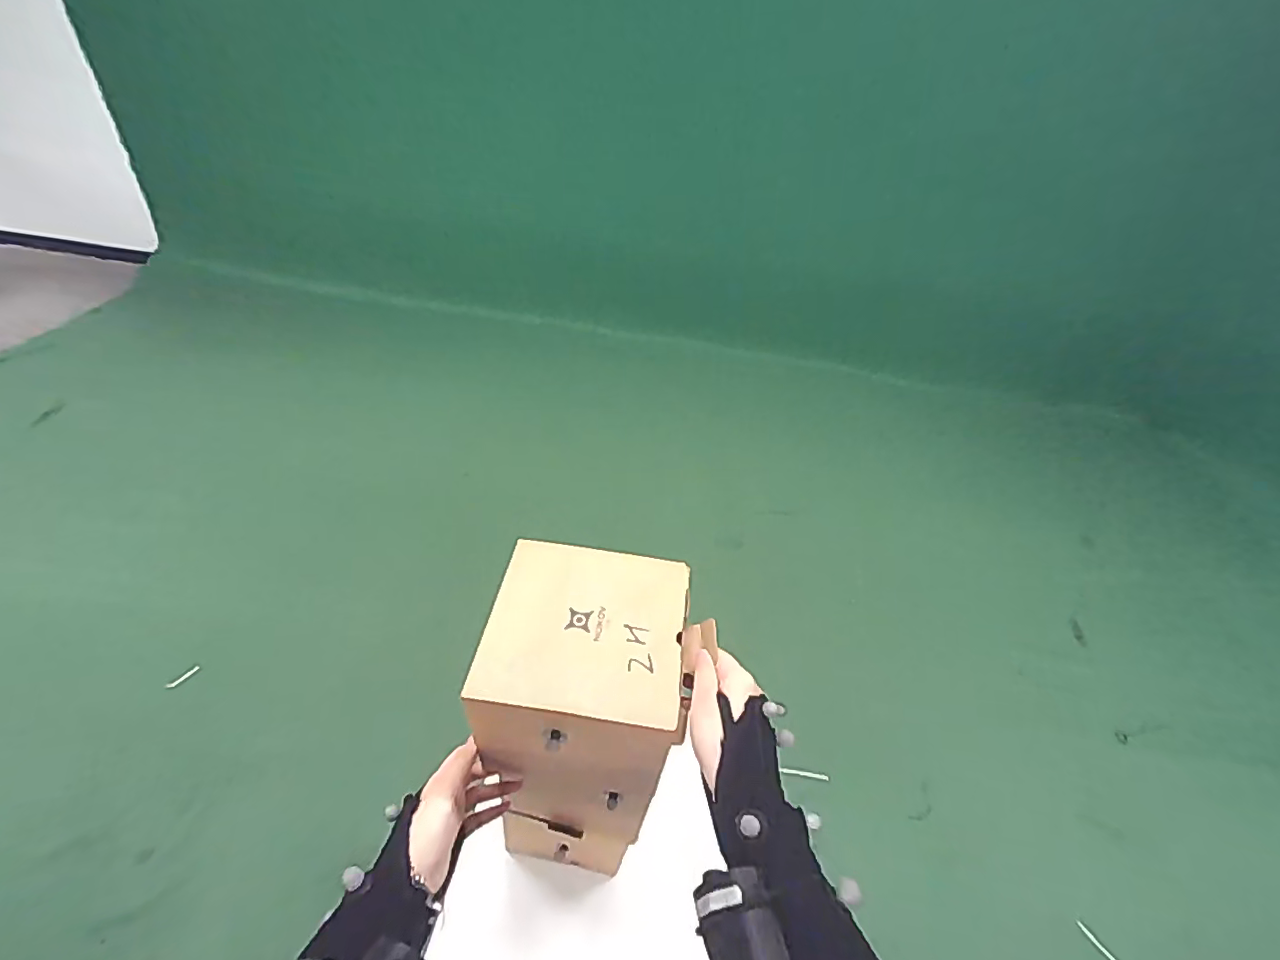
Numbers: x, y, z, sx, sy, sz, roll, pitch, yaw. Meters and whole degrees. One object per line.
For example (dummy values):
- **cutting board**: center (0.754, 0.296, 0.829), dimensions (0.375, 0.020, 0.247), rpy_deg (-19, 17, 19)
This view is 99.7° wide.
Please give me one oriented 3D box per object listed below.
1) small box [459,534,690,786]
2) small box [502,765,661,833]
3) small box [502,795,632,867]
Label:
- **small box**: center (-0.053, 0.177, 0.526), dimensions (0.179, 0.176, 0.168), rpy_deg (8, 45, 1)
- **small box**: center (-0.060, 0.299, 0.658), dimensions (0.179, 0.176, 0.168), rpy_deg (14, 41, 4)
- **small box**: center (-0.084, 0.418, 0.767), dimensions (0.168, 0.176, 0.179), rpy_deg (12, 41, 2)
